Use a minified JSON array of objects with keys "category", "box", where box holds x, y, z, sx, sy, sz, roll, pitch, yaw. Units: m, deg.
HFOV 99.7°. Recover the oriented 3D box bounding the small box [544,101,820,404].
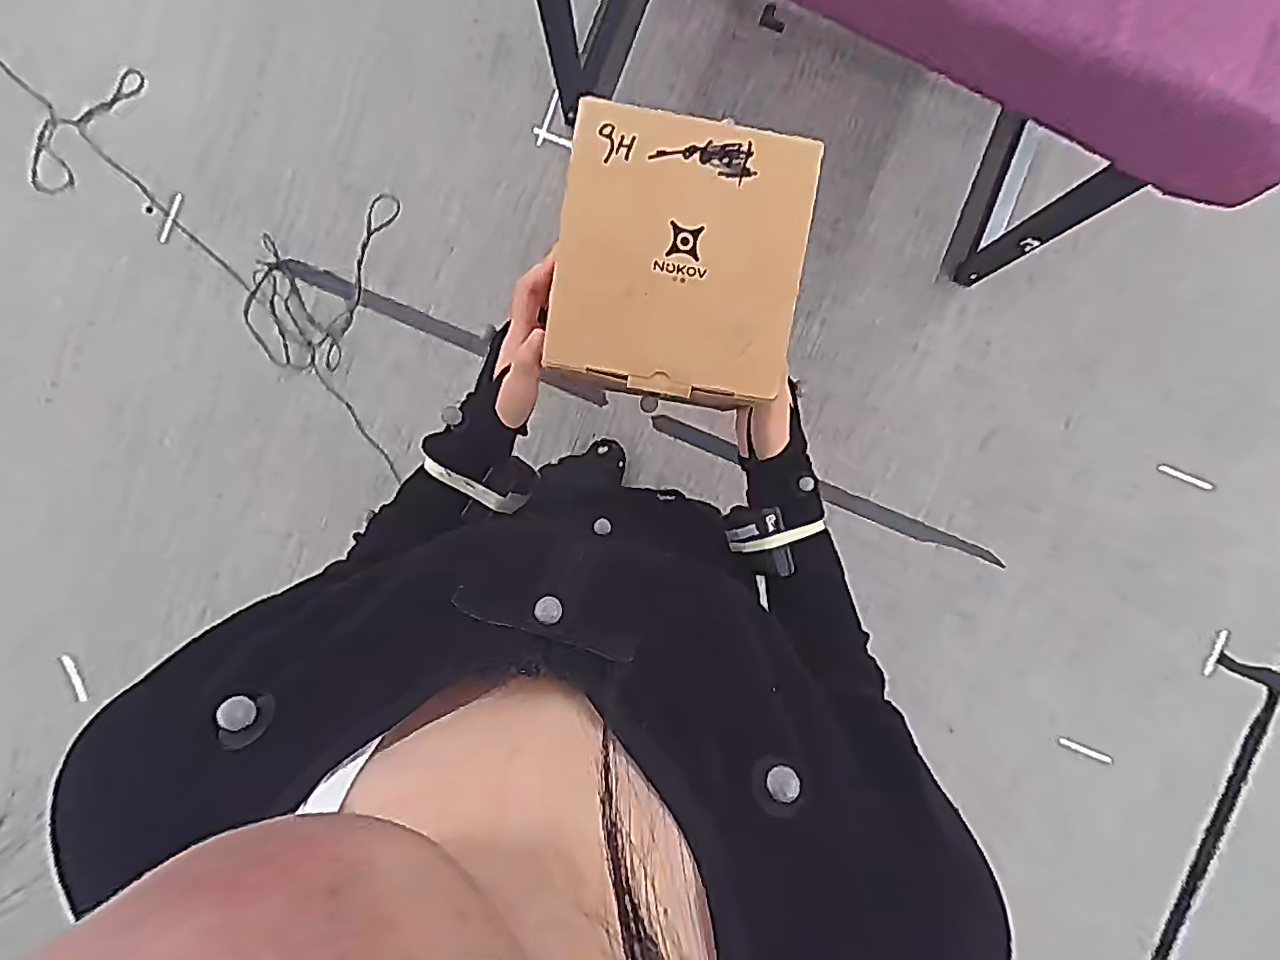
[{"category":"small box","box":[0.026,-0.161,0.448,0.168,0.176,0.179,9,96,-3]}]
